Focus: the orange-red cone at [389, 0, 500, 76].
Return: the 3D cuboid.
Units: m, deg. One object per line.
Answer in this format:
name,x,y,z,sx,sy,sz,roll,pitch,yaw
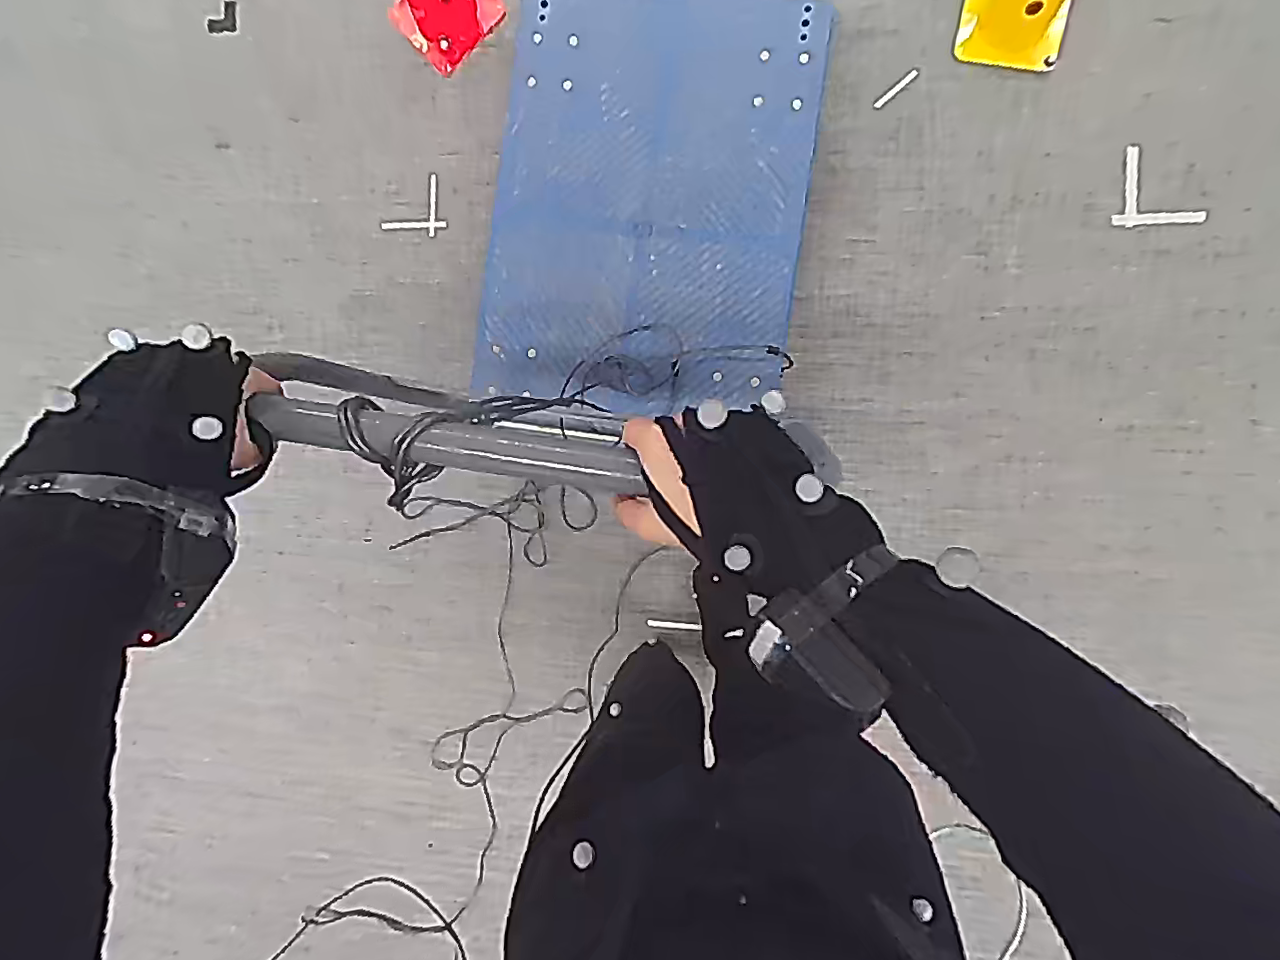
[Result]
orange-red cone,-0.443,-1.017,1.022,0.199,0.360,0.198,-42,88,3
